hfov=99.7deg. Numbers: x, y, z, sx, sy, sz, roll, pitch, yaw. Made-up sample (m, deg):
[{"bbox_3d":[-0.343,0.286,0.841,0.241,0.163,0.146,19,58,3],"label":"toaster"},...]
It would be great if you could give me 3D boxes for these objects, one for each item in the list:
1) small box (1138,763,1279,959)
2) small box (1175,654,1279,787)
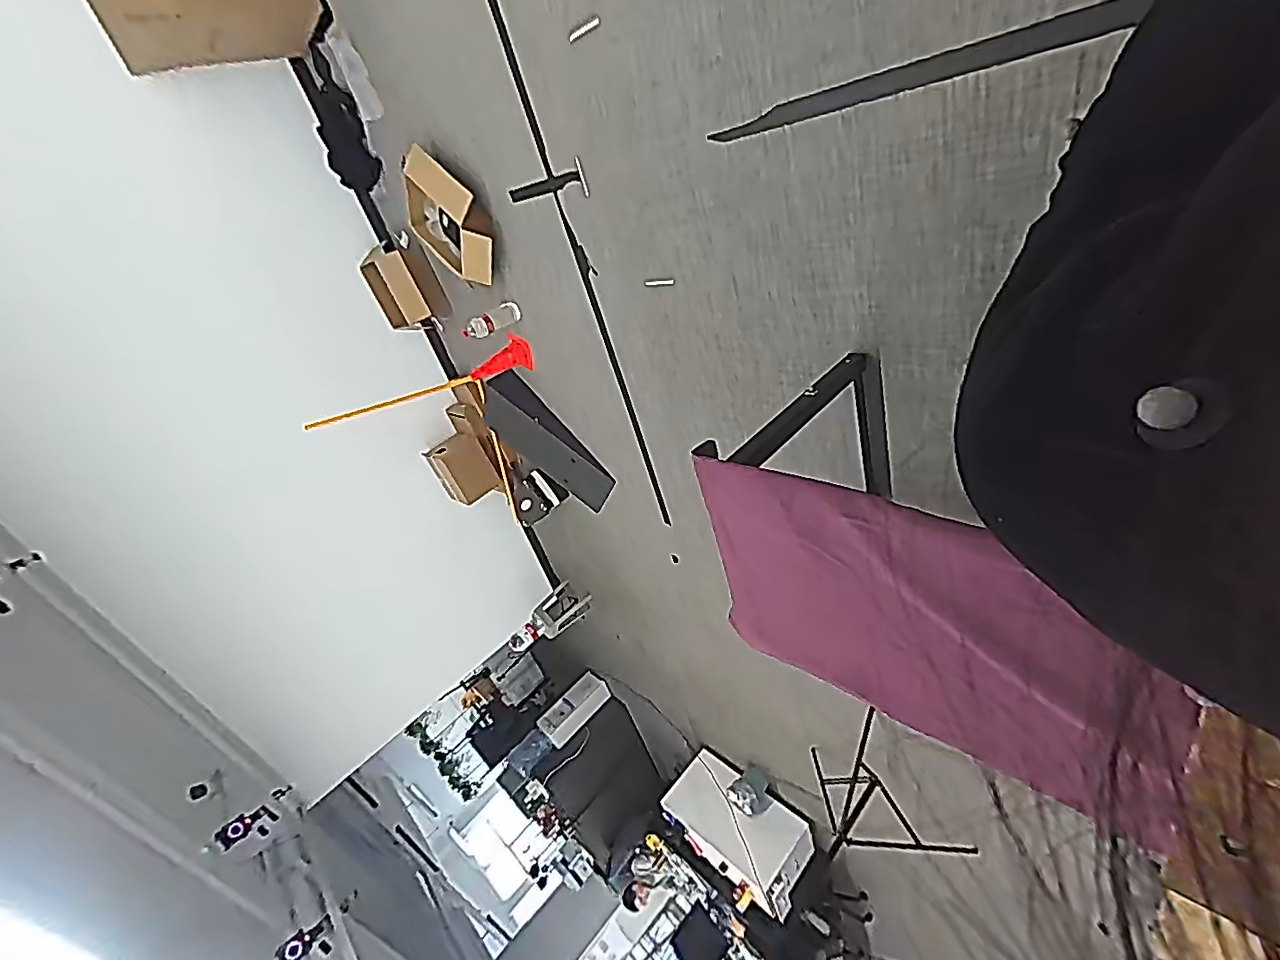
[{"bbox_3d":[0.668,0.440,0.572,0.179,0.176,0.168,12,134,47],"label":"small box"},{"bbox_3d":[0.777,0.351,0.653,0.168,0.176,0.179,14,133,47],"label":"small box"}]
